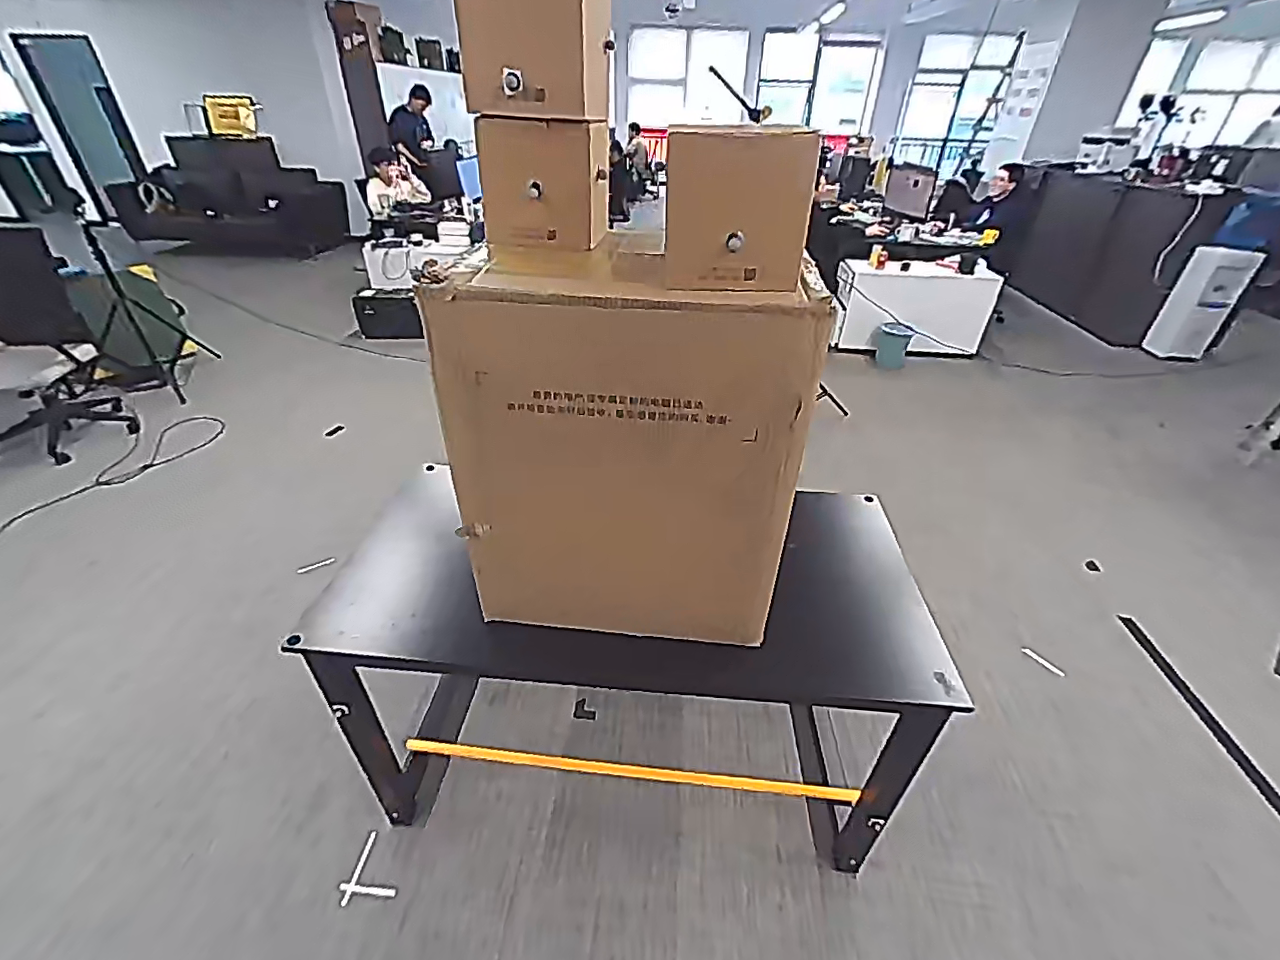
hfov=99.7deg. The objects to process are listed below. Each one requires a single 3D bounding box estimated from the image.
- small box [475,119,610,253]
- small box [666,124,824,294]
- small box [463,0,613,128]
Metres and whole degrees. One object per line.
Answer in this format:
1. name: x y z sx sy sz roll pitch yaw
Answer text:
1. small box: -0.139 -0.463 0.846 0.168 0.176 0.179 5 35 3
2. small box: 0.118 -0.348 0.688 0.168 0.176 0.179 1 36 3
3. small box: -0.132 -0.589 0.740 0.168 0.176 0.179 5 35 5
